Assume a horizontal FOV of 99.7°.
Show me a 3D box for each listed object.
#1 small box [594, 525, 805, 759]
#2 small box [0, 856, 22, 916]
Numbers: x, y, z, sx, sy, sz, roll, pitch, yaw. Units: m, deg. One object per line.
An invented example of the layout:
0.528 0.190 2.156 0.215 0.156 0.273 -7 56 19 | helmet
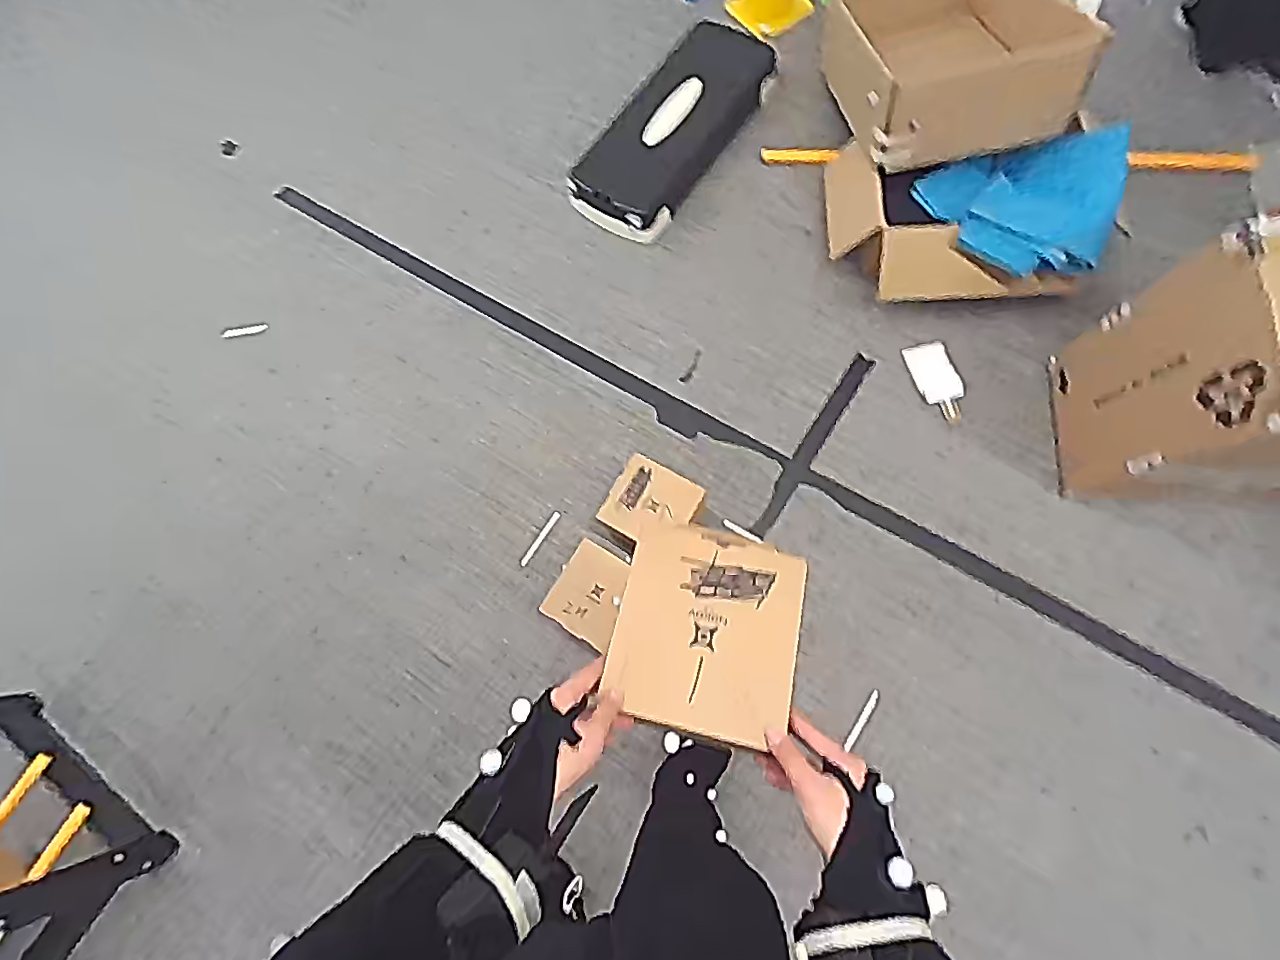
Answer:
0.059 0.171 0.556 0.168 0.176 0.179 12 64 7 | small box
-1.357 0.812 1.015 0.179 0.176 0.168 31 81 12 | small box
